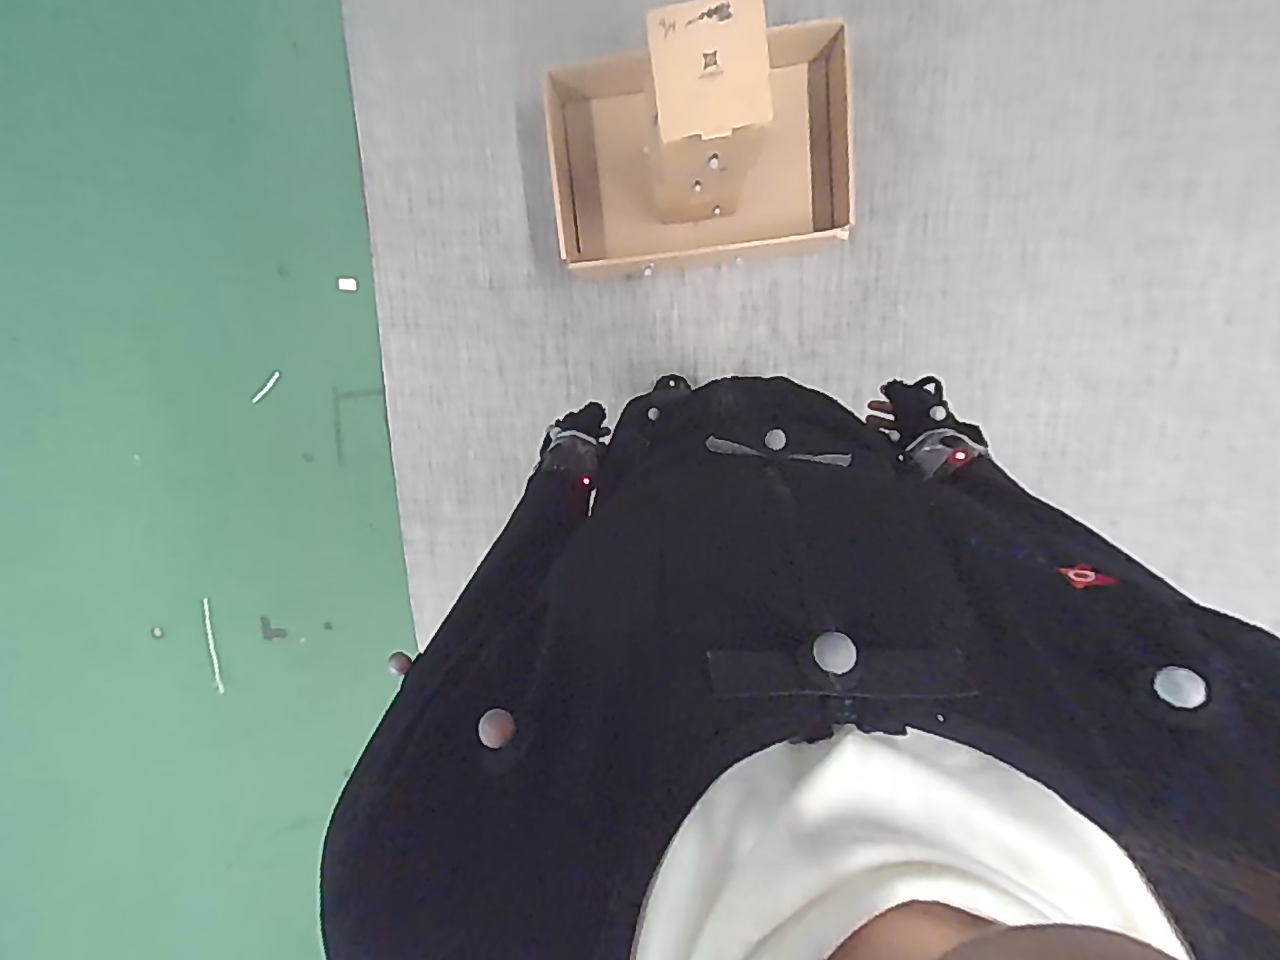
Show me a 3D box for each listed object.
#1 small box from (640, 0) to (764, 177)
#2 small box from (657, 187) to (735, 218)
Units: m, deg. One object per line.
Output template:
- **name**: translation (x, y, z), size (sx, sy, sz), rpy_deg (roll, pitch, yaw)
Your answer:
- **small box**: translation (0.101, -0.614, 0.873), size (0.168, 0.176, 0.179), rpy_deg (-8, 100, 7)
- **small box**: translation (0.115, -0.685, 1.173), size (0.168, 0.176, 0.179), rpy_deg (-5, 99, 5)
